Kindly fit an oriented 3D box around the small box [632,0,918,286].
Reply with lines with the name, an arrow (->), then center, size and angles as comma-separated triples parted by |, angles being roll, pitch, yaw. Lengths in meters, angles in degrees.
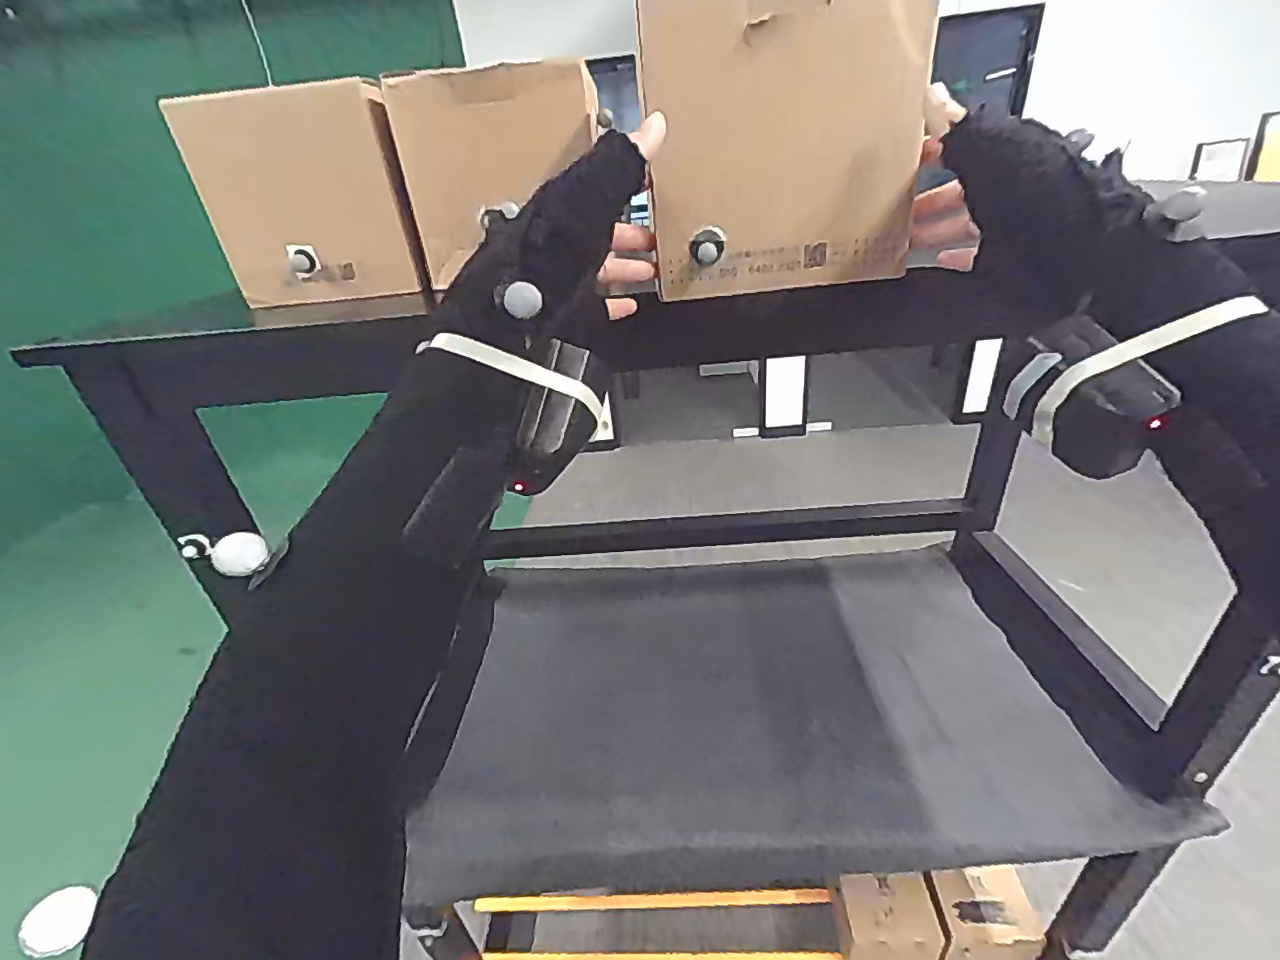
small box -> 0.086, -0.245, 0.403 | 0.168, 0.176, 0.179 | -5, 27, 2
